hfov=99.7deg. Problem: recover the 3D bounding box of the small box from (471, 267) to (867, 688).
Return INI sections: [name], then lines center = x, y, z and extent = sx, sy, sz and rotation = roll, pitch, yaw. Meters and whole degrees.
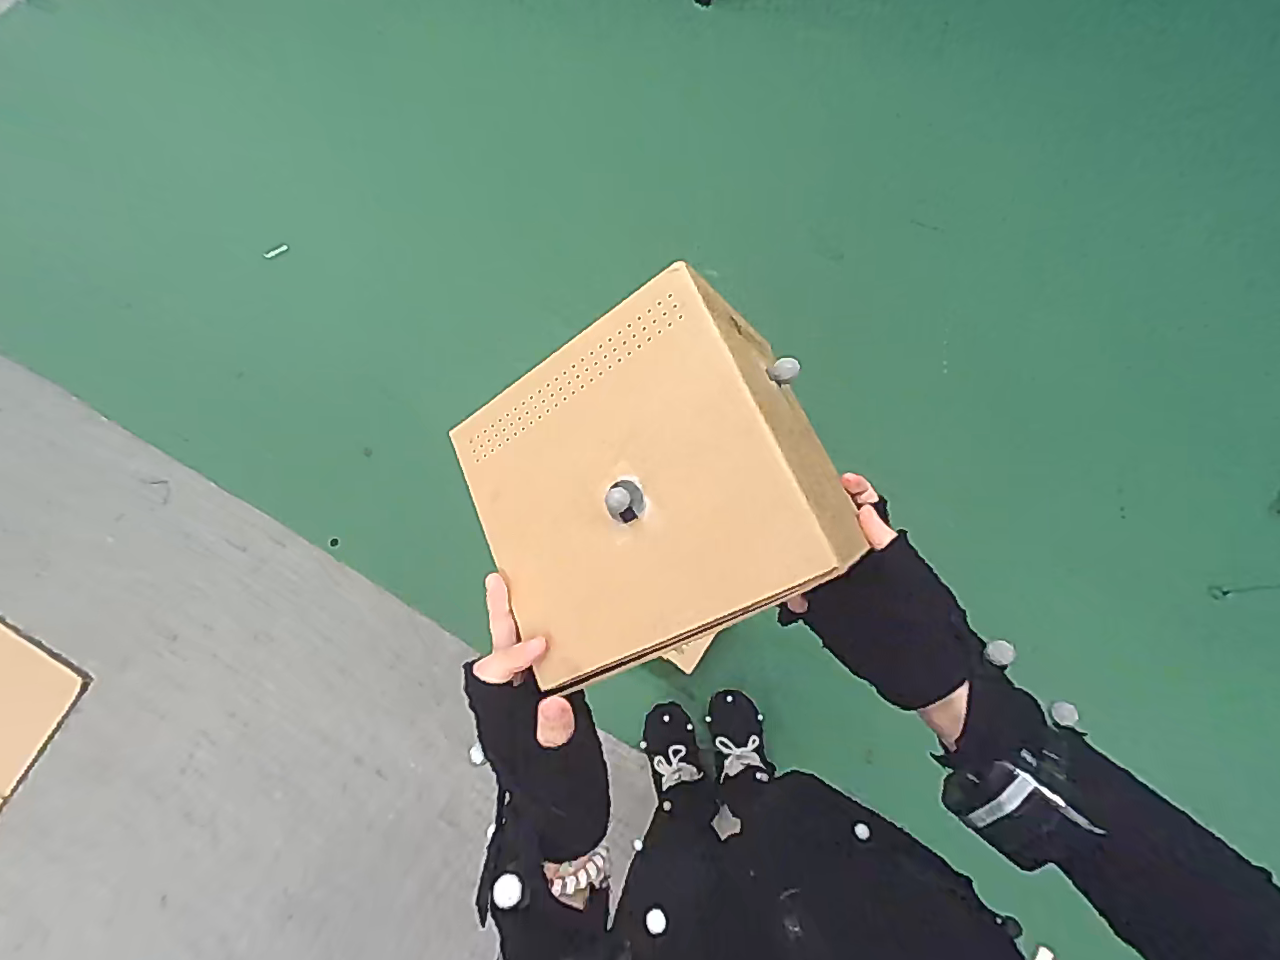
[small box]
center = 0.016, 0.005, 0.347
extent = 0.179, 0.168, 0.176
rotation = -30, 76, 25
